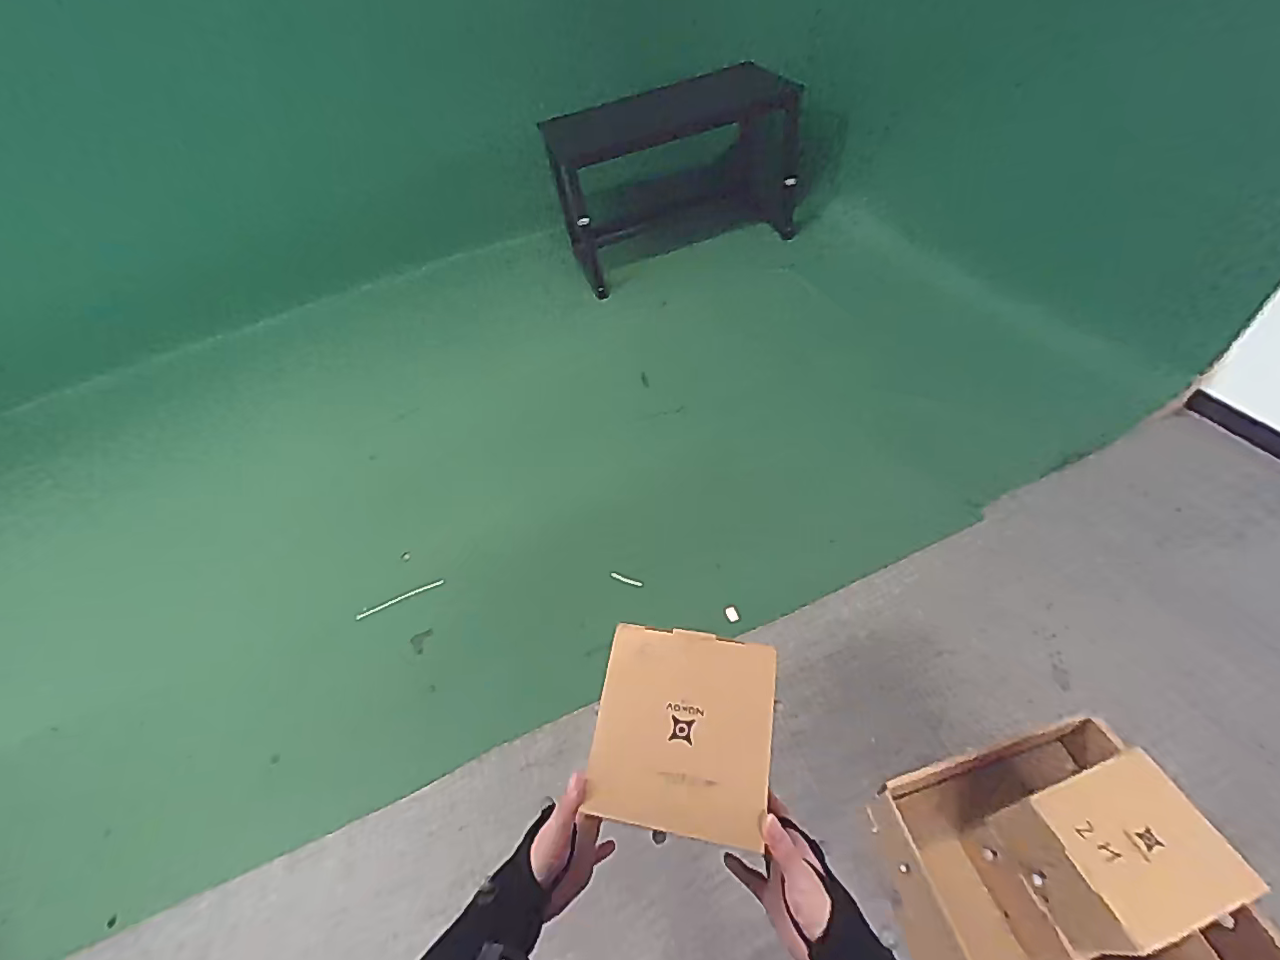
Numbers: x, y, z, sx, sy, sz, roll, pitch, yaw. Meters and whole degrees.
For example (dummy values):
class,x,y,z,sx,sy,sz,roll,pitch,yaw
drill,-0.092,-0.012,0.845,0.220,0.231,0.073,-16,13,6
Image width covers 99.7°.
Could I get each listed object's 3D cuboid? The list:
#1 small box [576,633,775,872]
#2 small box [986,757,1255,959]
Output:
class,x,y,z,sx,sy,sz,roll,pitch,yaw
small box,0.045,0.281,0.573,0.168,0.176,0.179,6,62,11
small box,0.617,0.503,0.726,0.179,0.176,0.168,-20,50,-6
